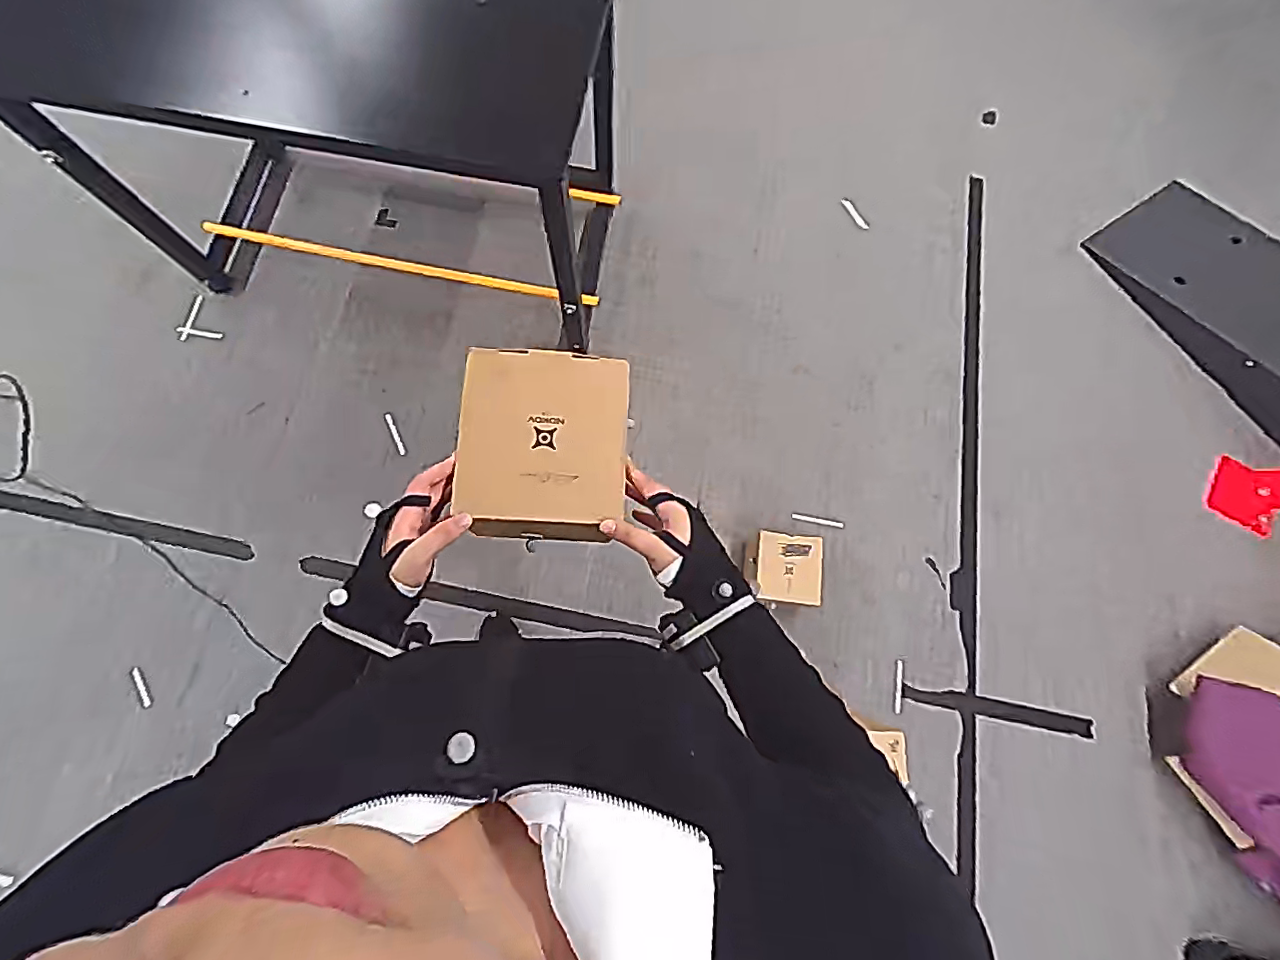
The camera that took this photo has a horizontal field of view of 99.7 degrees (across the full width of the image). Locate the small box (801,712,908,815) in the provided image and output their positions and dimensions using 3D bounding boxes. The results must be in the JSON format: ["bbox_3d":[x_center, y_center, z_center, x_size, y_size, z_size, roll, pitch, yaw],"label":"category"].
[{"bbox_3d":[0.463,0.618,1.198,0.179,0.176,0.168,3,76,-1],"label":"small box"}]

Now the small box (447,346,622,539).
[{"bbox_3d":[-0.110,-0.031,0.611,0.168,0.176,0.179,1,78,-6],"label":"small box"}]

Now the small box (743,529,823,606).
[{"bbox_3d":[0.380,0.239,1.458,0.168,0.176,0.179,8,76,0],"label":"small box"}]
